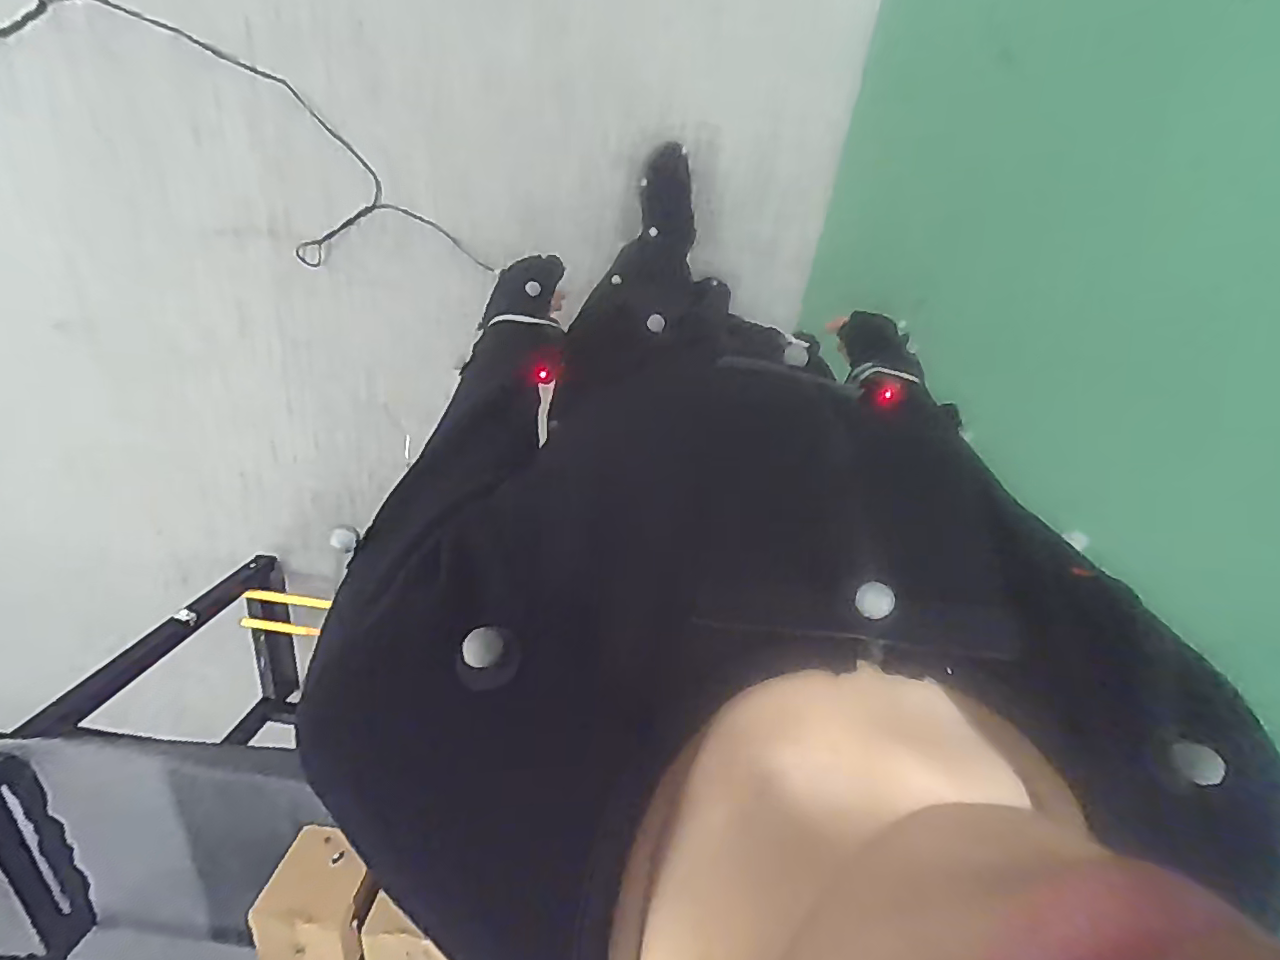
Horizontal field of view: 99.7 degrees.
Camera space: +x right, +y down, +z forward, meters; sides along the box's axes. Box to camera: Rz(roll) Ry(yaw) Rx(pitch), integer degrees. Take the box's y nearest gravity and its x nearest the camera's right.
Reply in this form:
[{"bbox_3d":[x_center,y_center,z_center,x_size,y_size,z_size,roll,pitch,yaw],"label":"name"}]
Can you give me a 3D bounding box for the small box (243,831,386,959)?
[{"bbox_3d":[-0.606,0.817,1.035,0.168,0.176,0.179,6,113,0],"label":"small box"}]
